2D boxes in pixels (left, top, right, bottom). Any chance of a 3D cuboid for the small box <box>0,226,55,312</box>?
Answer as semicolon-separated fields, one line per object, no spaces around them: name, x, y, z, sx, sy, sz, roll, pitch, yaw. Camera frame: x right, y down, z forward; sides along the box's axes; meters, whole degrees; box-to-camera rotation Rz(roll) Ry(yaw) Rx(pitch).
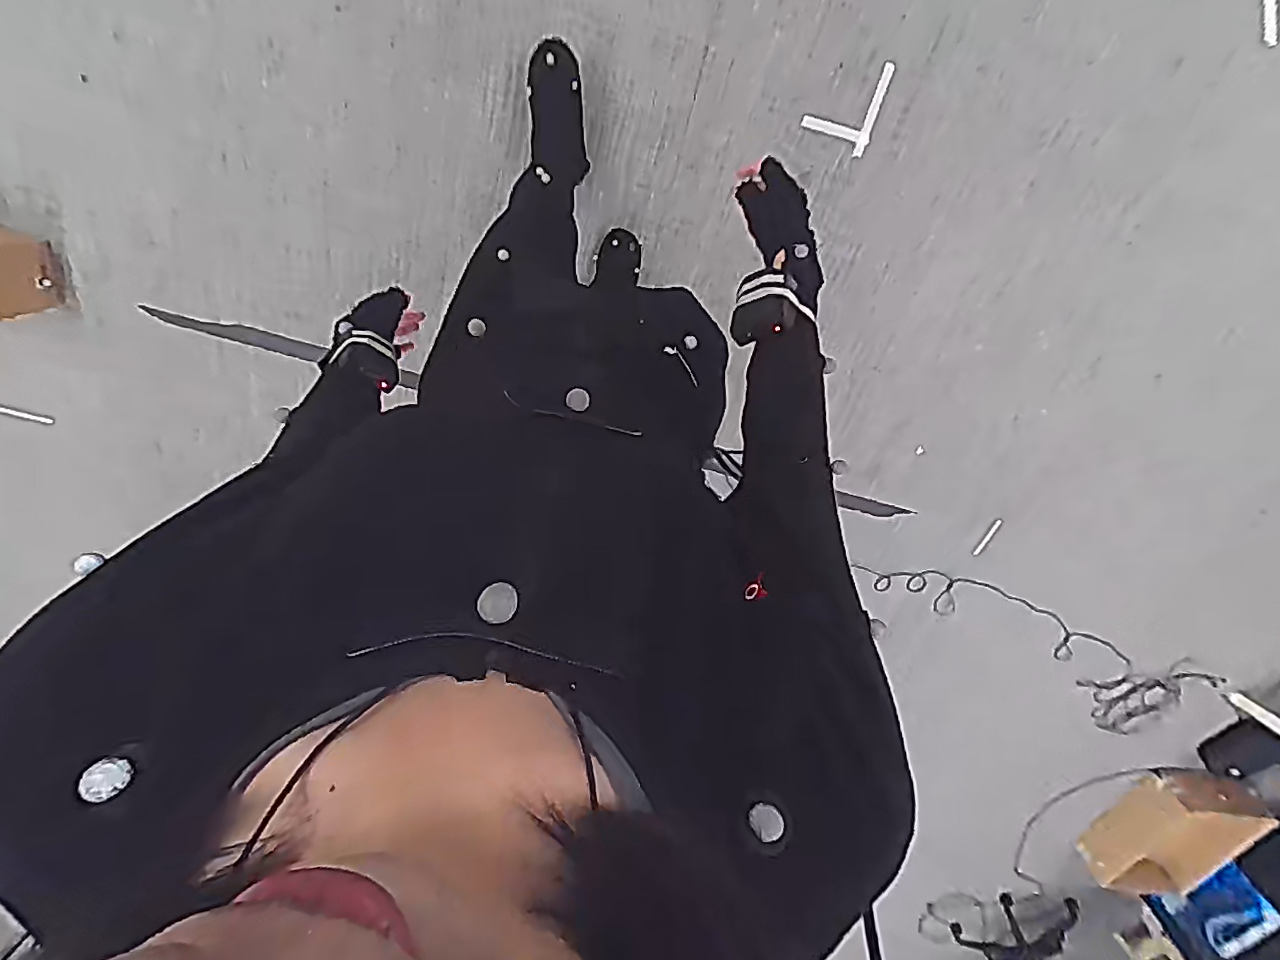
small box;-1.532;-0.495;1.244;0.179;0.176;0.168;14;119;-9
